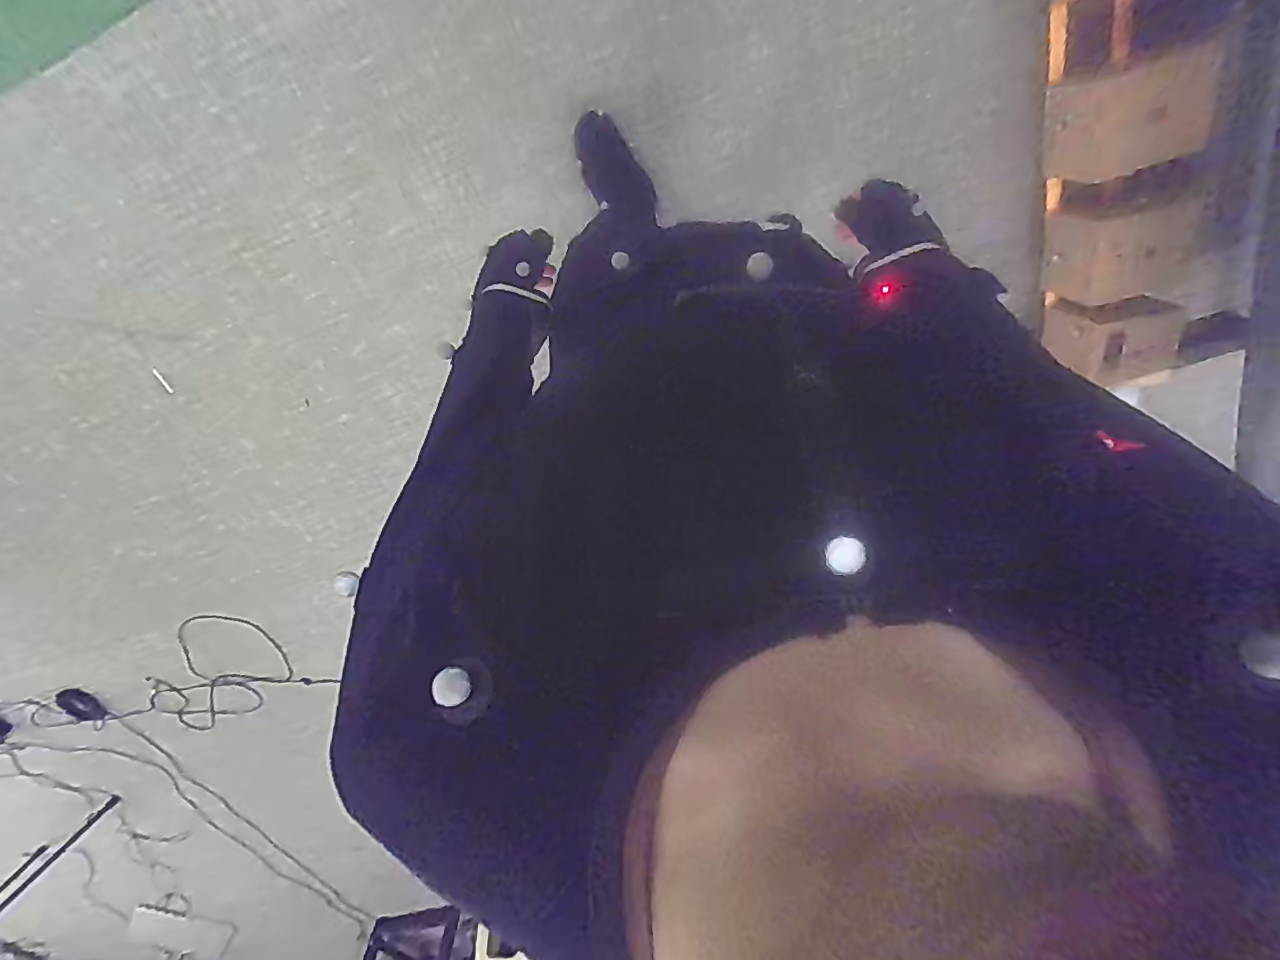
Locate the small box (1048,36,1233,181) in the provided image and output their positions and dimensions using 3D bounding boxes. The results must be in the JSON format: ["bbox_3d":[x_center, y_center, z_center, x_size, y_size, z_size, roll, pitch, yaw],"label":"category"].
[{"bbox_3d":[0.895,-0.671,0.988,0.179,0.176,0.168,-15,121,12],"label":"small box"}]
